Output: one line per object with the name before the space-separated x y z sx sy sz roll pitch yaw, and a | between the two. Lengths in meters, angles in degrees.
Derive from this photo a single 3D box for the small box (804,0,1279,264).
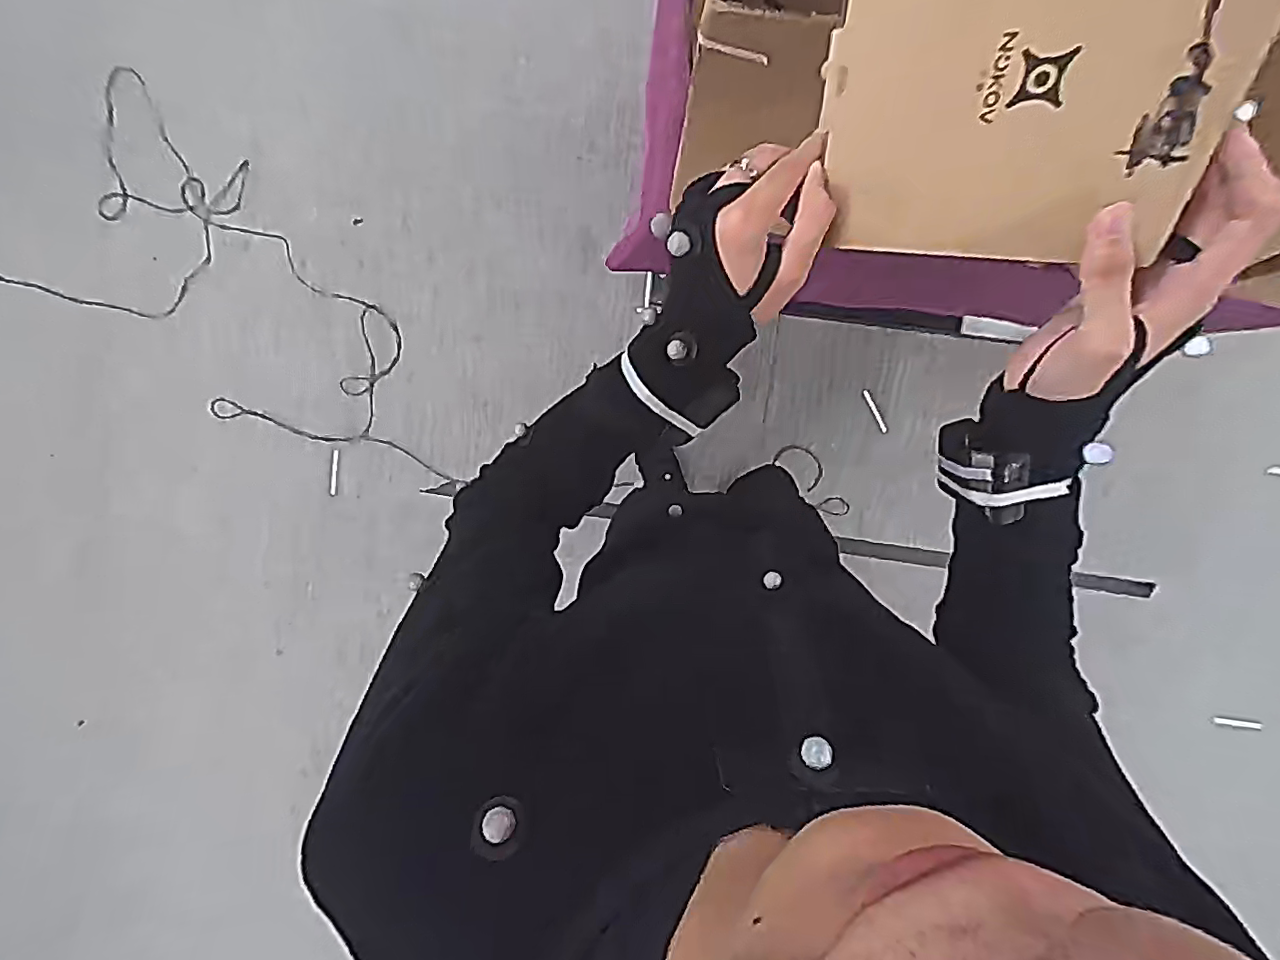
small box | 0.210 -0.241 0.314 0.179 0.176 0.168 13 132 19
